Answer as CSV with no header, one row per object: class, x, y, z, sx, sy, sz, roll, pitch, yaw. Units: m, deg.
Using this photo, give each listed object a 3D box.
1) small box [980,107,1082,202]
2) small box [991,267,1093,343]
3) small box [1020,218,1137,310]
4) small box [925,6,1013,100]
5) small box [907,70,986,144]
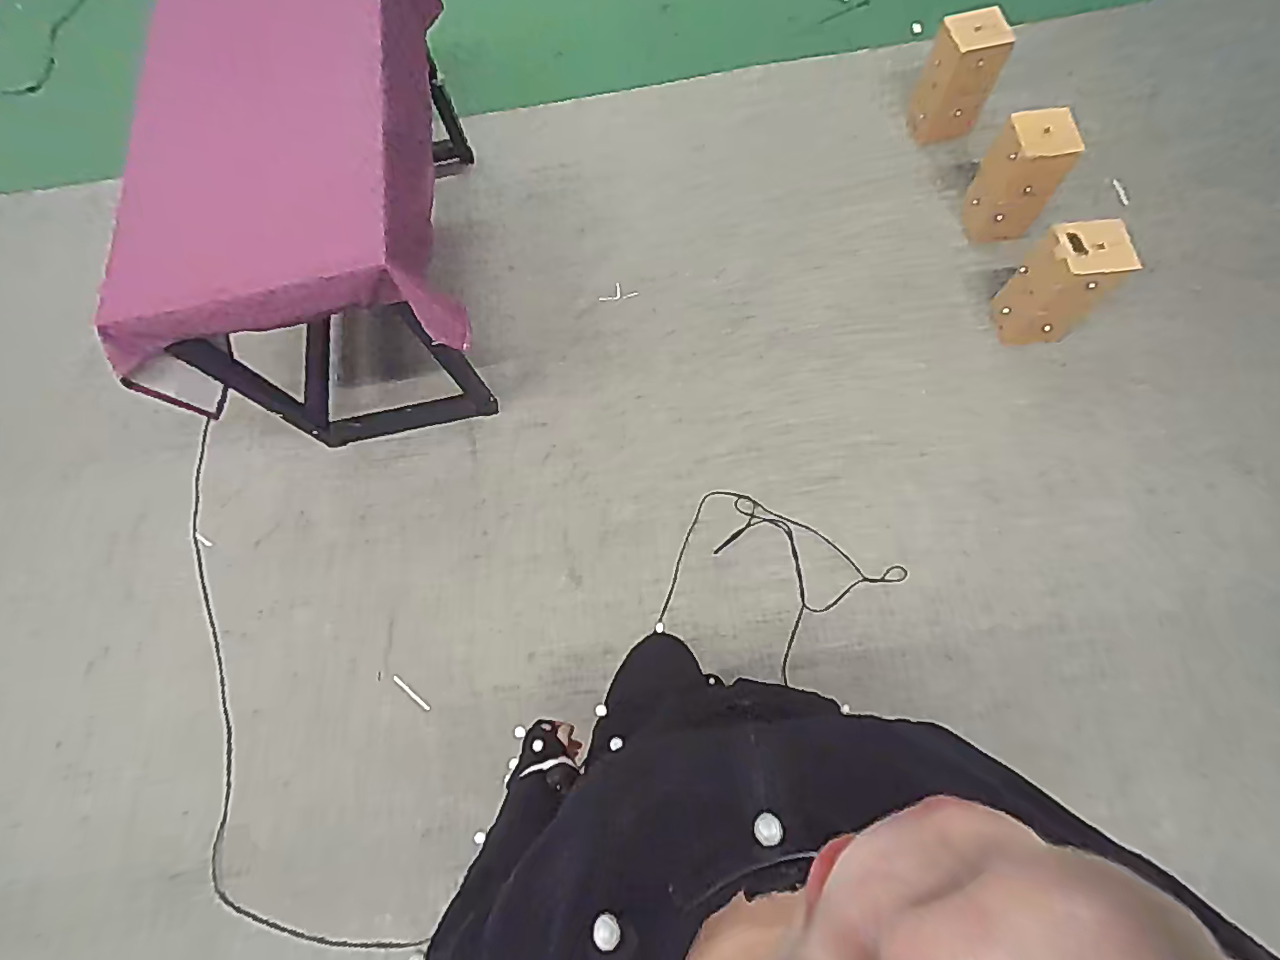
small box,1.155,-0.967,1.614,0.168,0.176,0.179,-4,71,3
small box,1.202,-0.531,1.637,0.179,0.176,0.168,-6,71,4
small box,1.183,-0.585,1.481,0.179,0.176,0.168,-4,71,3
small box,1.059,-1.384,1.763,0.179,0.176,0.168,-10,72,1
small box,1.075,-1.331,1.918,0.179,0.176,0.168,-9,72,1
